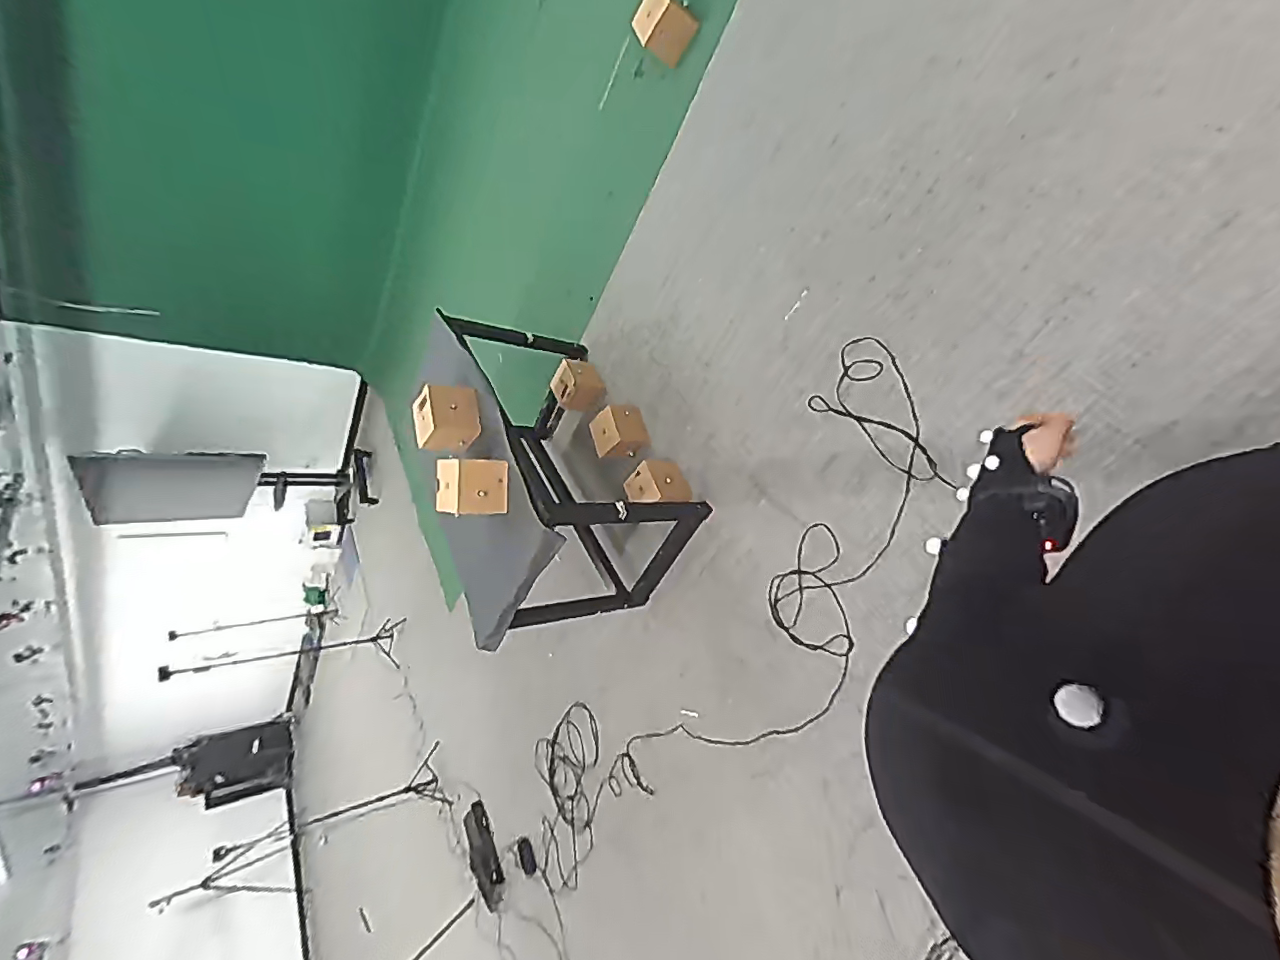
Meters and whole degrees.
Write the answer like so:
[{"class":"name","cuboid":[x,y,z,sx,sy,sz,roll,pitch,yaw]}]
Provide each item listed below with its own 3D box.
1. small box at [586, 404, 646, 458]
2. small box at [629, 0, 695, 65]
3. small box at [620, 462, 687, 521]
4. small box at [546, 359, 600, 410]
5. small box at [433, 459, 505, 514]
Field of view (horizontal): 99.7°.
[{"class":"small box","cuboid":[-0.103,-0.203,2.319,0.168,0.176,0.179,-38,63,42]},{"class":"small box","cuboid":[0.088,-1.815,2.152,0.179,0.176,0.168,-38,62,40]},{"class":"small box","cuboid":[0.057,0.041,2.132,0.168,0.176,0.179,-46,57,37]},{"class":"small box","cuboid":[-0.314,-0.449,2.565,0.168,0.176,0.179,-53,51,33]},{"class":"small box","cuboid":[-0.541,0.019,1.711,0.179,0.176,0.168,0,89,49]}]
